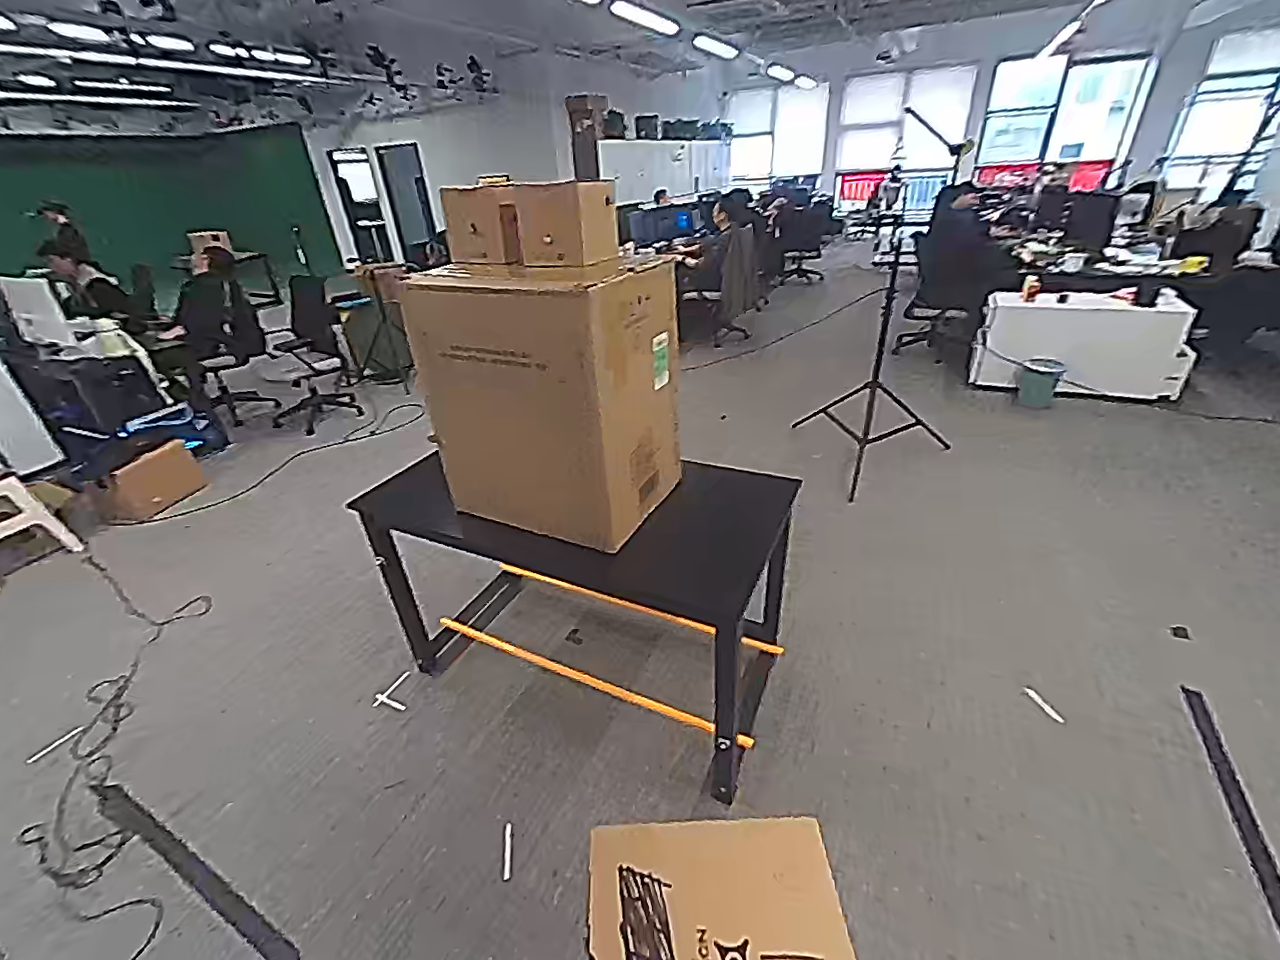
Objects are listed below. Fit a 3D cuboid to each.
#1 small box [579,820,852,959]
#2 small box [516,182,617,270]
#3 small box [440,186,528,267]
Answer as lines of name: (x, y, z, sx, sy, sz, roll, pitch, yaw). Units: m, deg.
small box: (0.050, 0.373, 0.386, 0.179, 0.176, 0.168, -2, 35, -2)
small box: (-0.162, -0.588, 1.250, 0.168, 0.176, 0.179, 9, 31, 23)
small box: (-0.362, -0.632, 1.349, 0.168, 0.176, 0.179, 10, 32, 20)
